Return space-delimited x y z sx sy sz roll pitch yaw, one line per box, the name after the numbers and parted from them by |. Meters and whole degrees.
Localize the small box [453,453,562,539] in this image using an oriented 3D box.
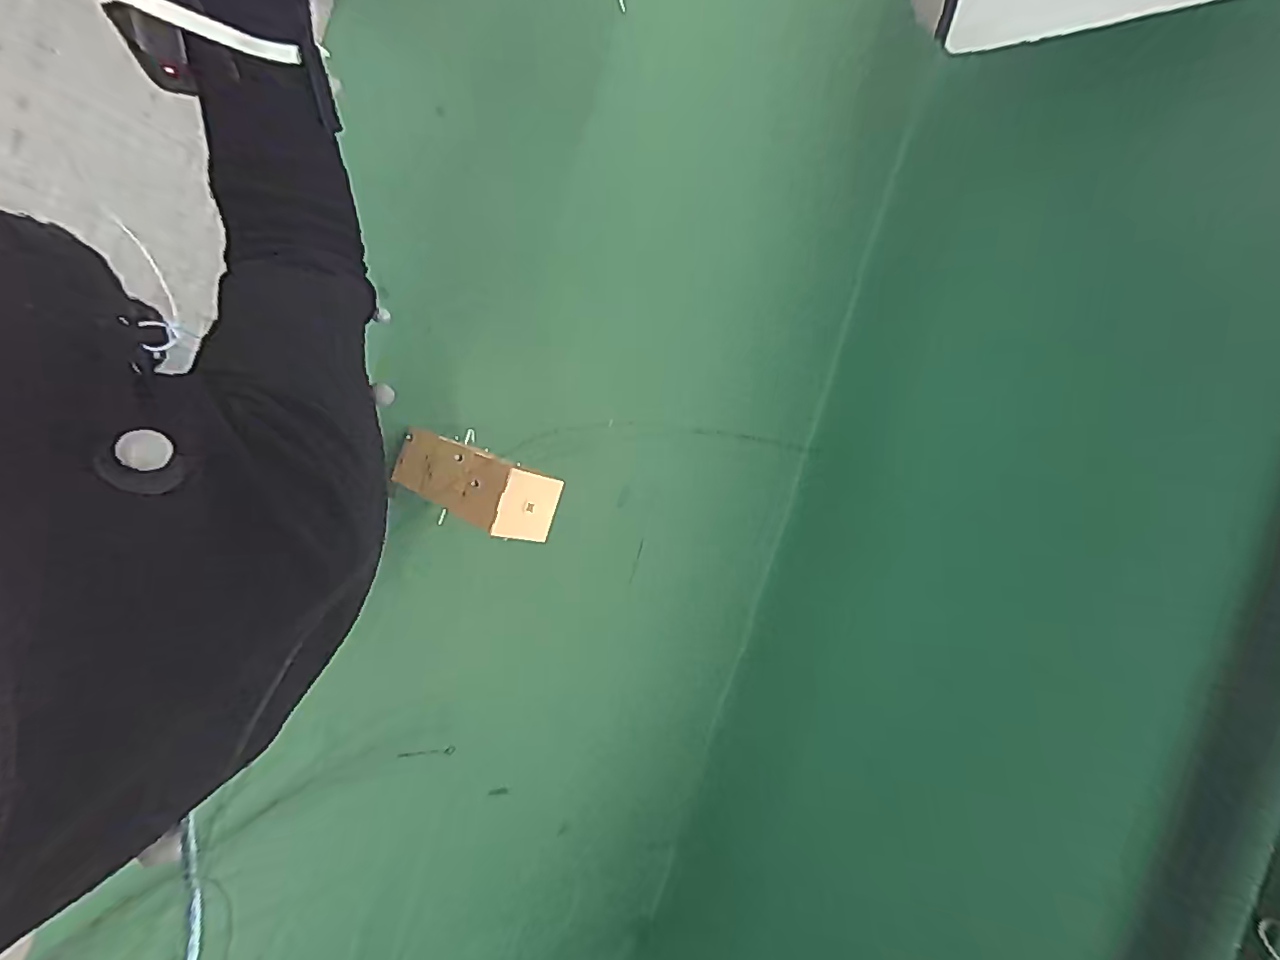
-0.335 0.039 1.364 0.179 0.176 0.168 17 92 -52 | small box

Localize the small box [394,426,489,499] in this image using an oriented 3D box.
-0.578 -0.048 1.566 0.179 0.176 0.168 21 88 -52 | small box
